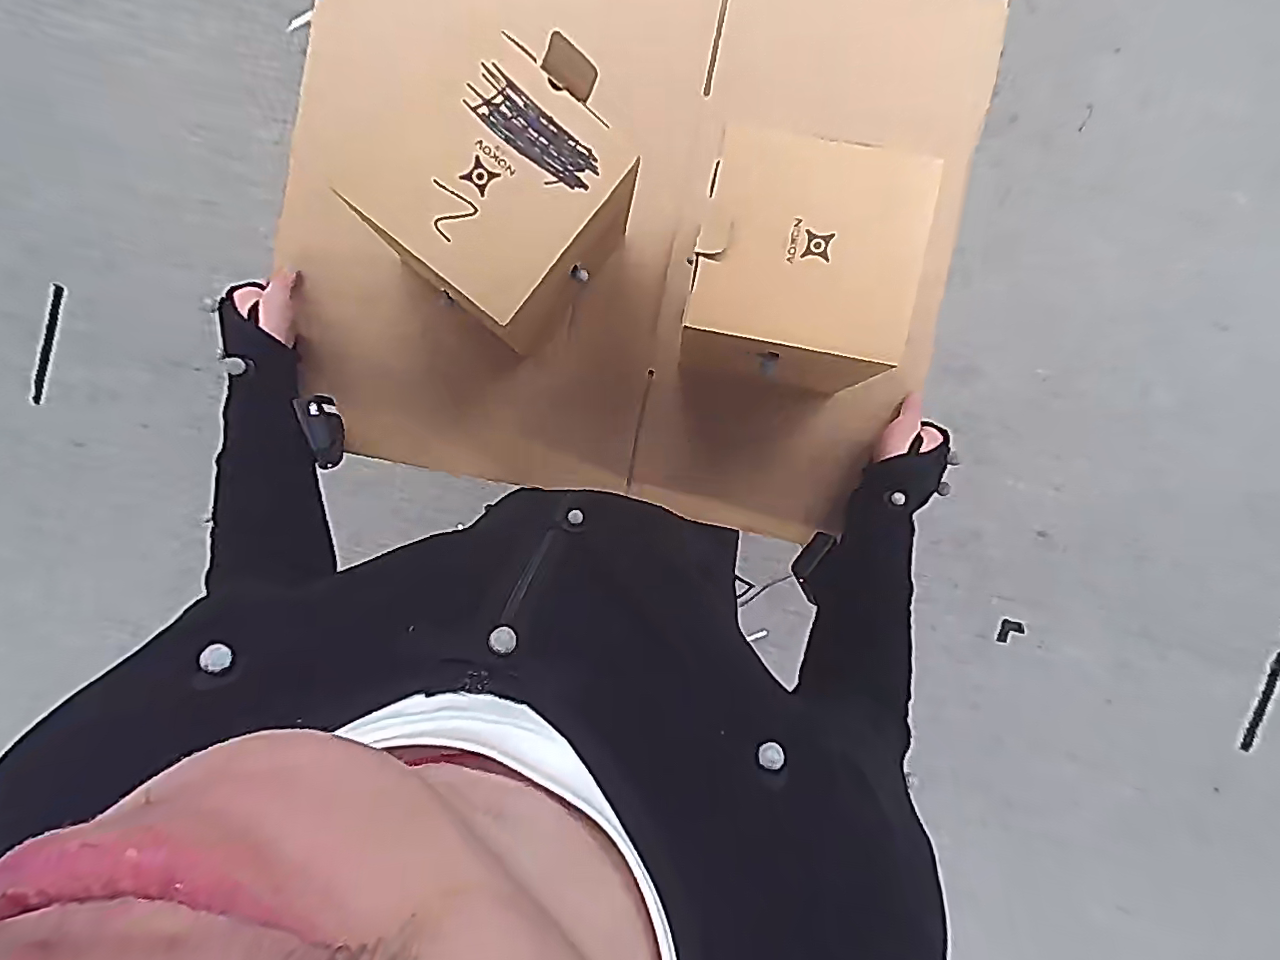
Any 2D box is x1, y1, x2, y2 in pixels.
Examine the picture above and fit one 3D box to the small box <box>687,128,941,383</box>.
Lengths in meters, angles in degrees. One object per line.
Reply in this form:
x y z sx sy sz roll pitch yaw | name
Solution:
0.147 -0.195 0.520 0.179 0.176 0.168 12 93 4 | small box
